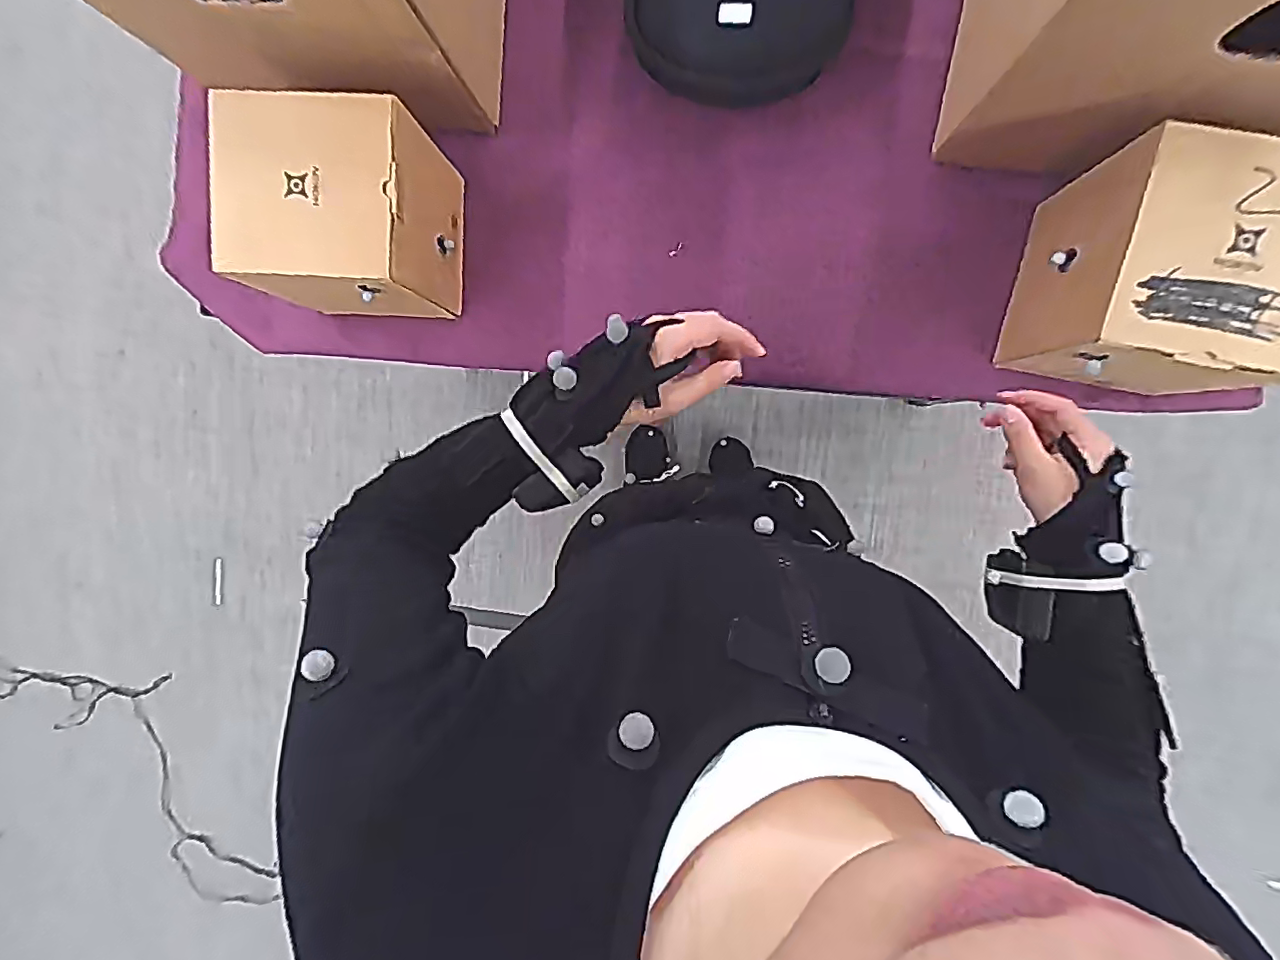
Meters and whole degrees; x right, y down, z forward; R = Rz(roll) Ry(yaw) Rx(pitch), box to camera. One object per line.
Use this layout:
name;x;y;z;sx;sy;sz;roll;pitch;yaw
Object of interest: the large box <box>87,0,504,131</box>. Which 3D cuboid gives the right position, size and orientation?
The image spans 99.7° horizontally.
large box;-0.315;-0.605;0.484;0.320;0.320;0.408;5;99;4
